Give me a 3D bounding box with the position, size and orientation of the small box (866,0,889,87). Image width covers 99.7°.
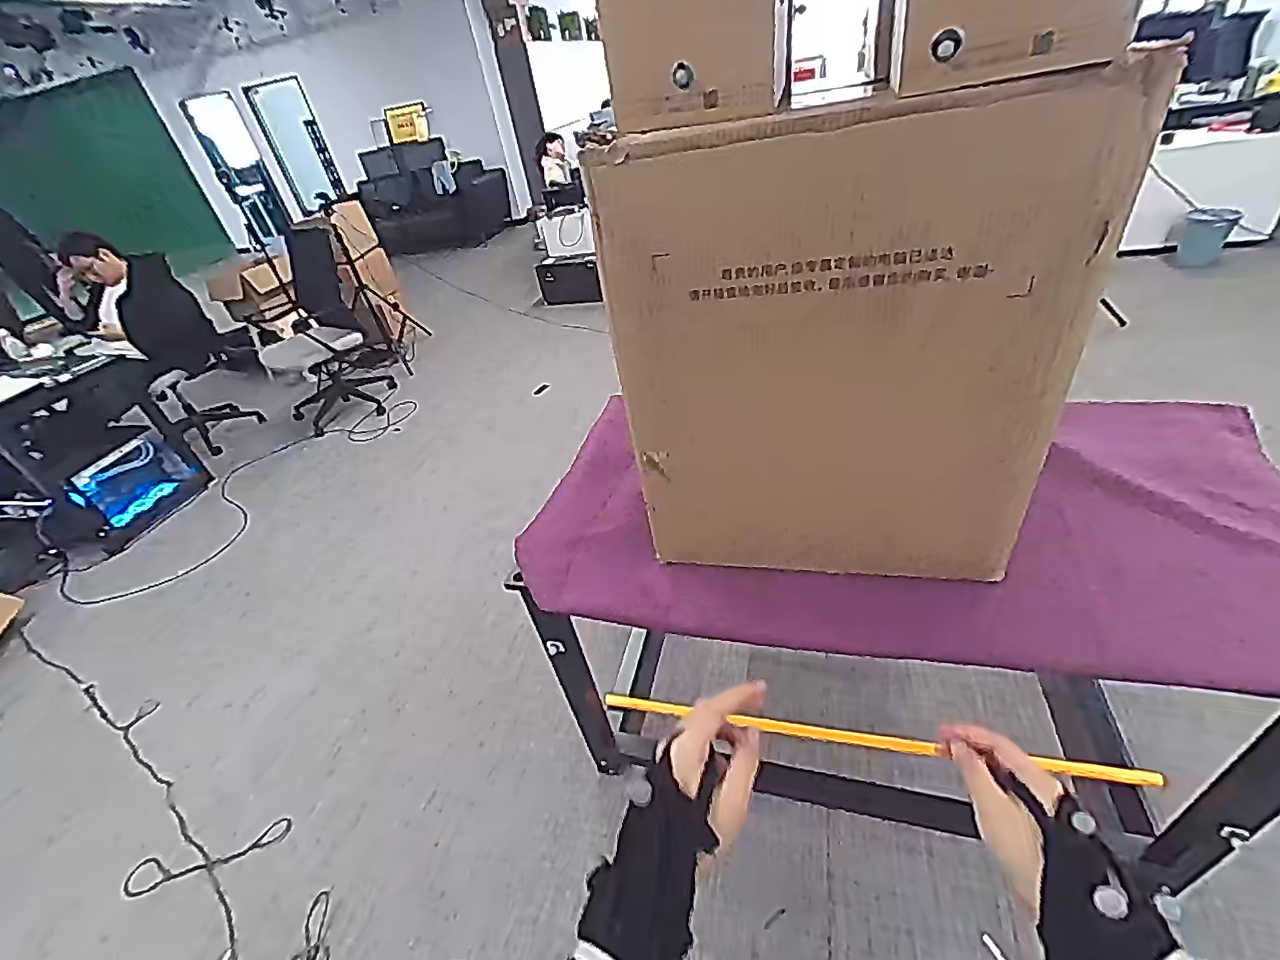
[{"bbox_3d":[0.352,-0.561,0.609,0.168,0.176,0.179,0,38,17],"label":"small box"}]

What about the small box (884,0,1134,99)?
[{"bbox_3d":[0.311,-0.446,0.464,0.168,0.176,0.179,1,40,18],"label":"small box"}]
